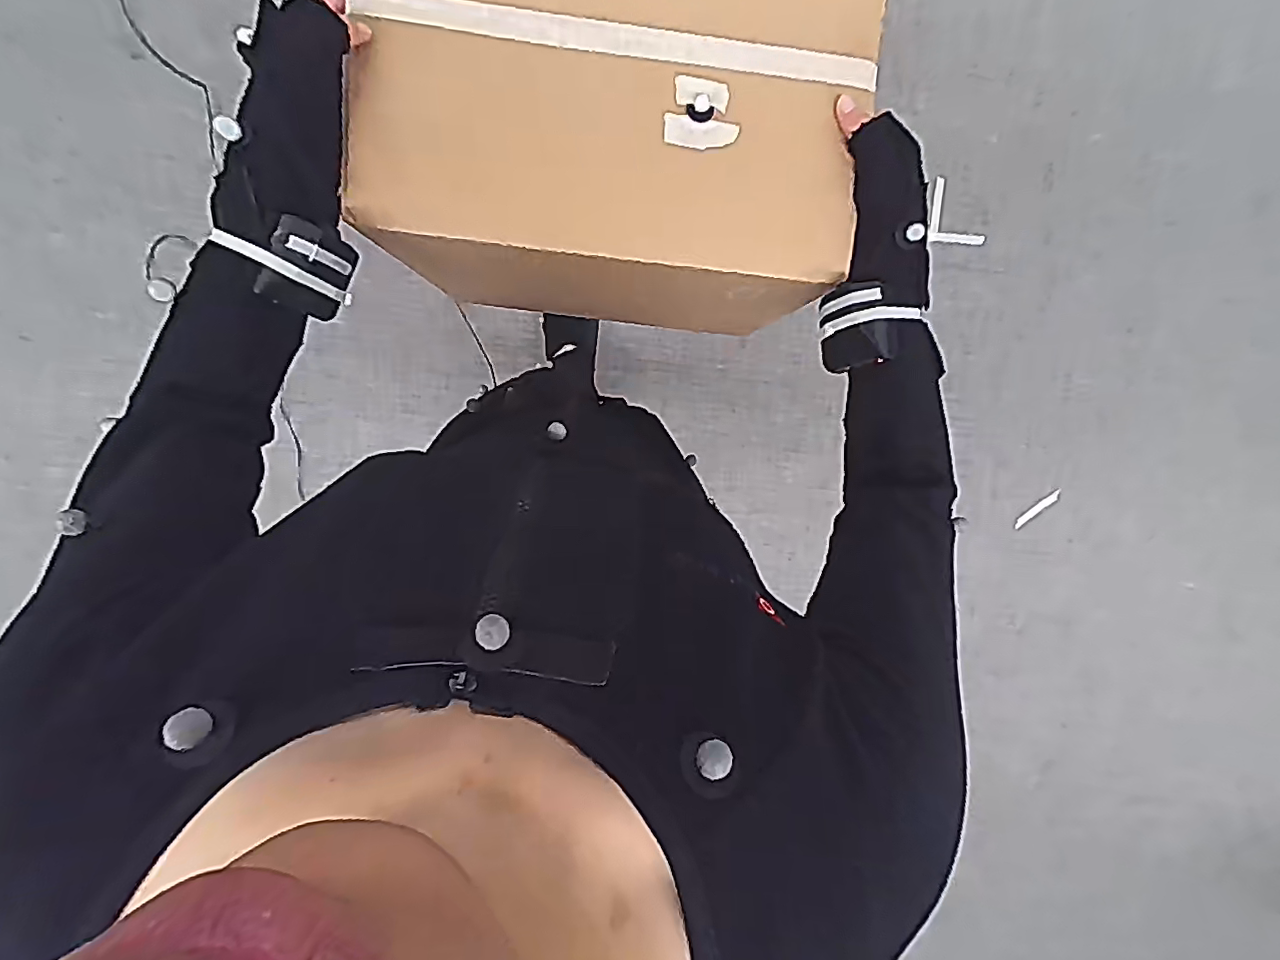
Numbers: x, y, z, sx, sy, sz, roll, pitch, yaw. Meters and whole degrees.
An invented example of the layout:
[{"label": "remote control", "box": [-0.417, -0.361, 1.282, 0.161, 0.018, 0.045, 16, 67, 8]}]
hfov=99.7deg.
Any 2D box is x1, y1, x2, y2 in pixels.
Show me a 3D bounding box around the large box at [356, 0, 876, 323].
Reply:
[{"label": "large box", "box": [-0.025, -0.364, 0.569, 0.408, 0.320, 0.320, 5, 97, -4]}]
